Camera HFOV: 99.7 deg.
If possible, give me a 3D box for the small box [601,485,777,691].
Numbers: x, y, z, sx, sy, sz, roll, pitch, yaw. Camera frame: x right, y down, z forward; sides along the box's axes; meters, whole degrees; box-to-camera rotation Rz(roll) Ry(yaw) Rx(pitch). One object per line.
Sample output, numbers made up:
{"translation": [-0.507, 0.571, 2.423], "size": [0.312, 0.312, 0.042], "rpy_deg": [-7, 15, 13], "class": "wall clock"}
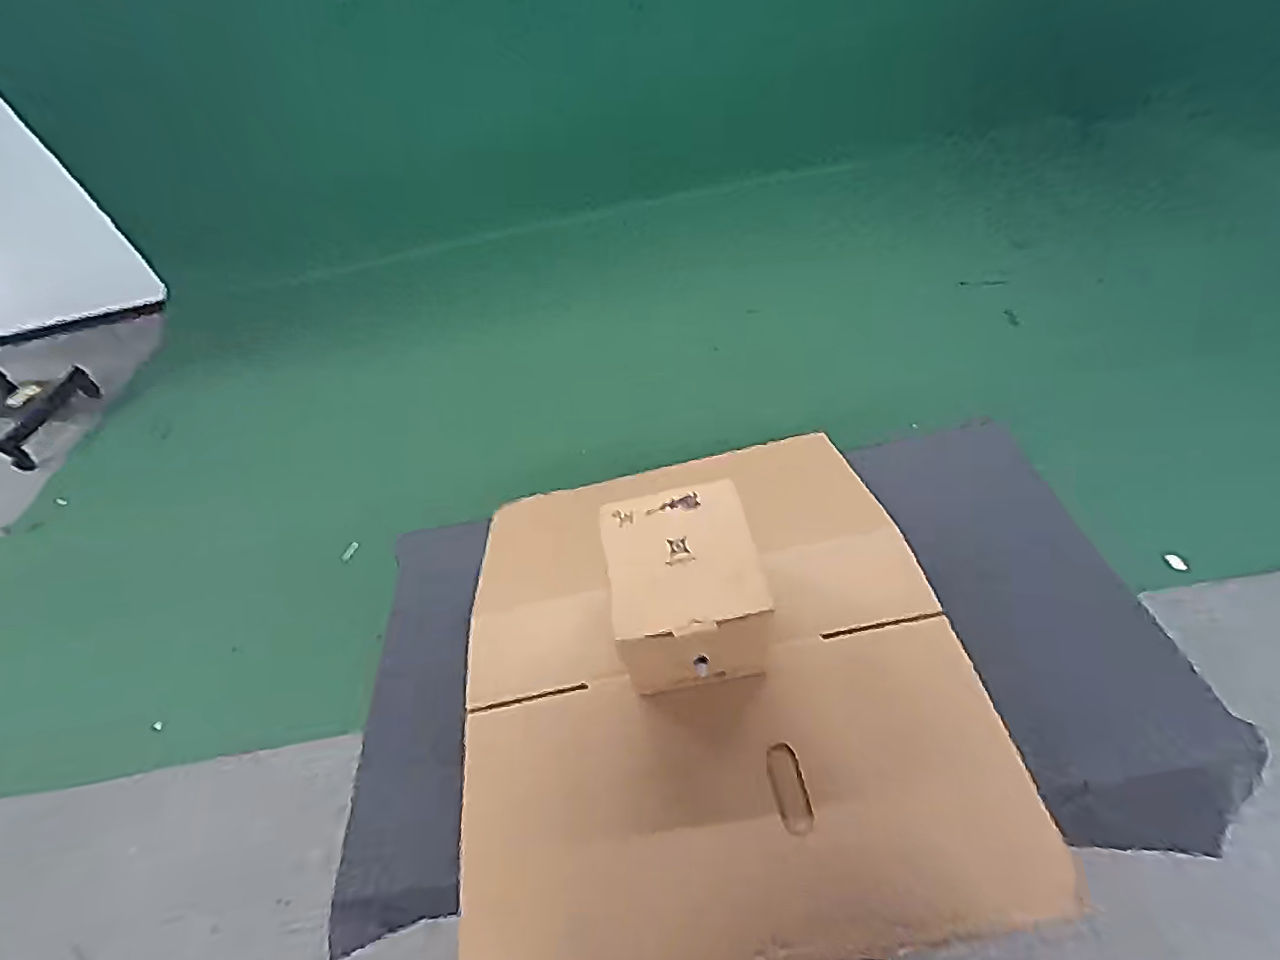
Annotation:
{"translation": [0.059, 0.138, 0.653], "size": [0.168, 0.176, 0.179], "rpy_deg": [-14, 50, 0], "class": "small box"}
